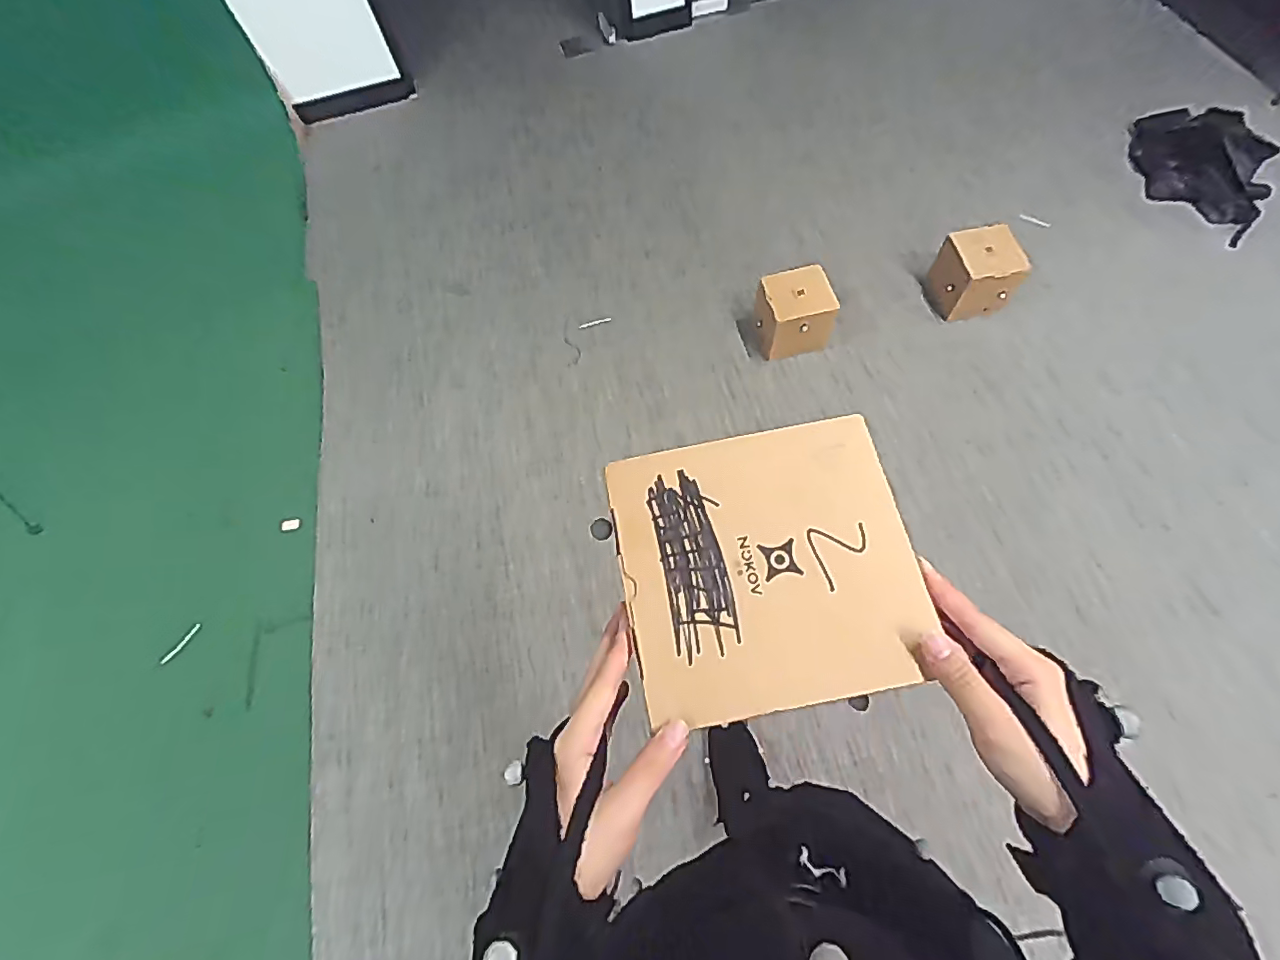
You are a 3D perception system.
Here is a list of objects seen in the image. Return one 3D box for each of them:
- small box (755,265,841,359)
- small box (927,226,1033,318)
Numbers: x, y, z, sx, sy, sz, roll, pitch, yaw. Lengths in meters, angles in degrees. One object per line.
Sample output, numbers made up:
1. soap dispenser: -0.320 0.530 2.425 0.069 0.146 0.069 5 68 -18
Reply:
1. small box: 0.436 -0.468 1.523 0.179 0.176 0.168 -13 65 0
2. small box: 0.948 -0.579 1.527 0.168 0.176 0.179 -9 64 0
